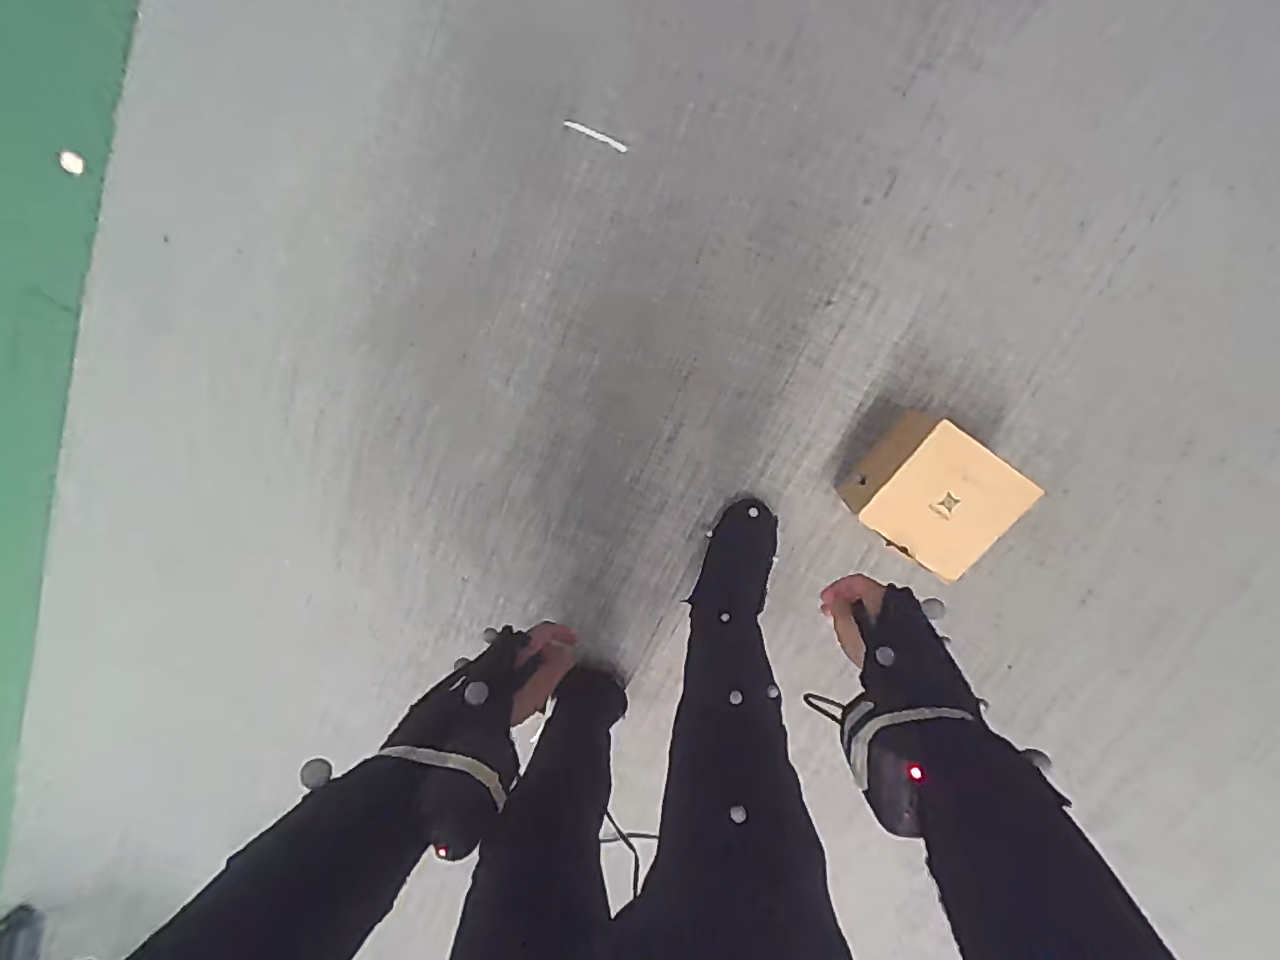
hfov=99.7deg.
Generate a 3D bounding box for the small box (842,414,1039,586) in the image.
[{"bbox_3d":[0.426,0.020,0.808,0.168,0.176,0.179,36,105,0],"label":"small box"}]
